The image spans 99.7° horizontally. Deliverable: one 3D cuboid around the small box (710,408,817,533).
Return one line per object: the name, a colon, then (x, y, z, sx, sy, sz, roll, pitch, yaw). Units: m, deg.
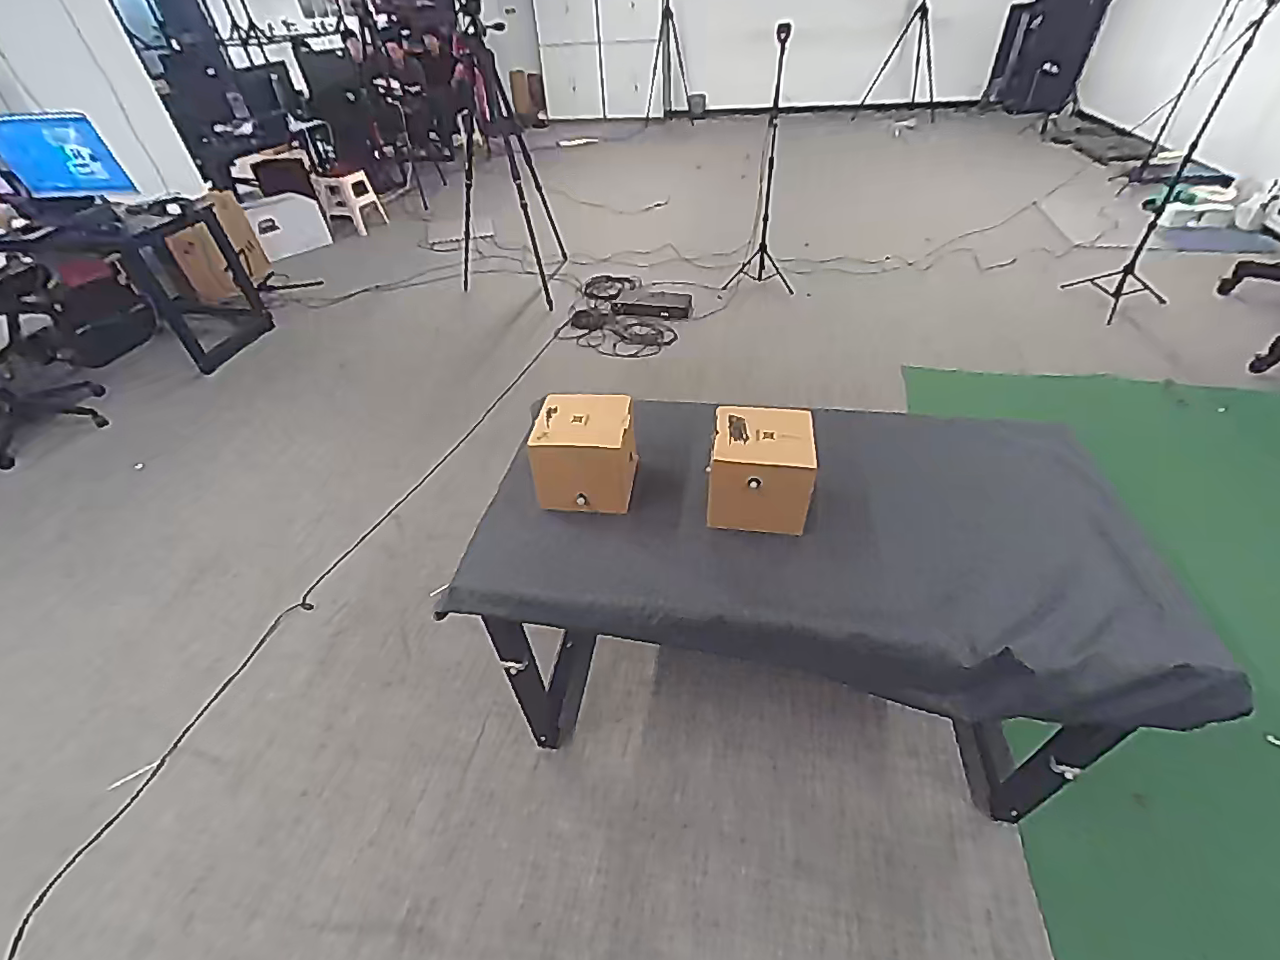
small box: (0.226, -0.017, 1.019, 0.179, 0.176, 0.168, 5, 43, 9)

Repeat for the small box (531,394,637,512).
small box: (-0.101, -0.052, 1.080, 0.179, 0.176, 0.168, 3, 42, 6)
